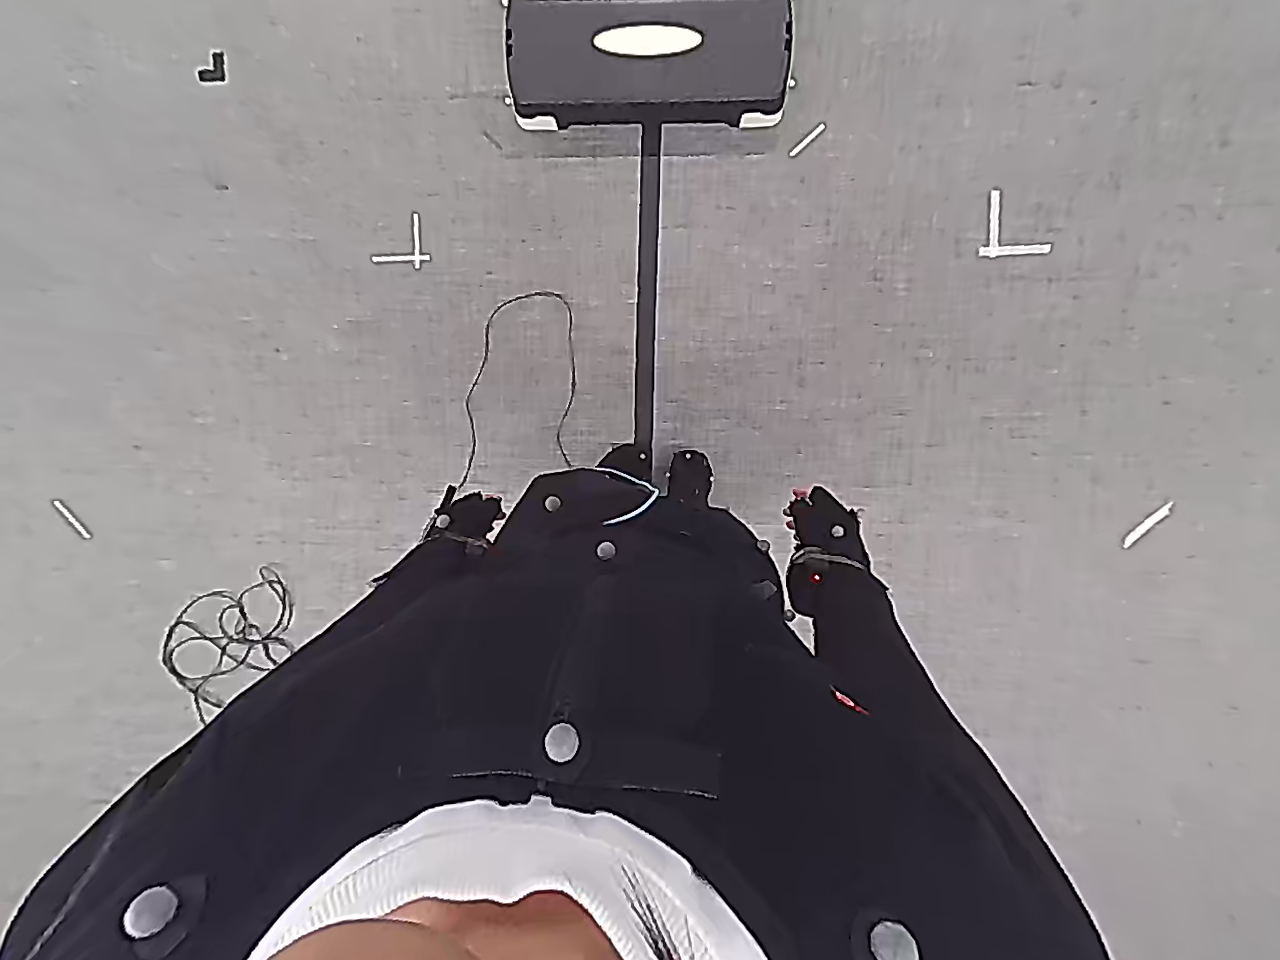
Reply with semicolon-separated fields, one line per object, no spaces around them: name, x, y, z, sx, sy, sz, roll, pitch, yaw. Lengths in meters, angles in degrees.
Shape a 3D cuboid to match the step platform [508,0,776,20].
step platform;0.002;-1.269;1.218;0.684;0.204;0.286;0;96;2
